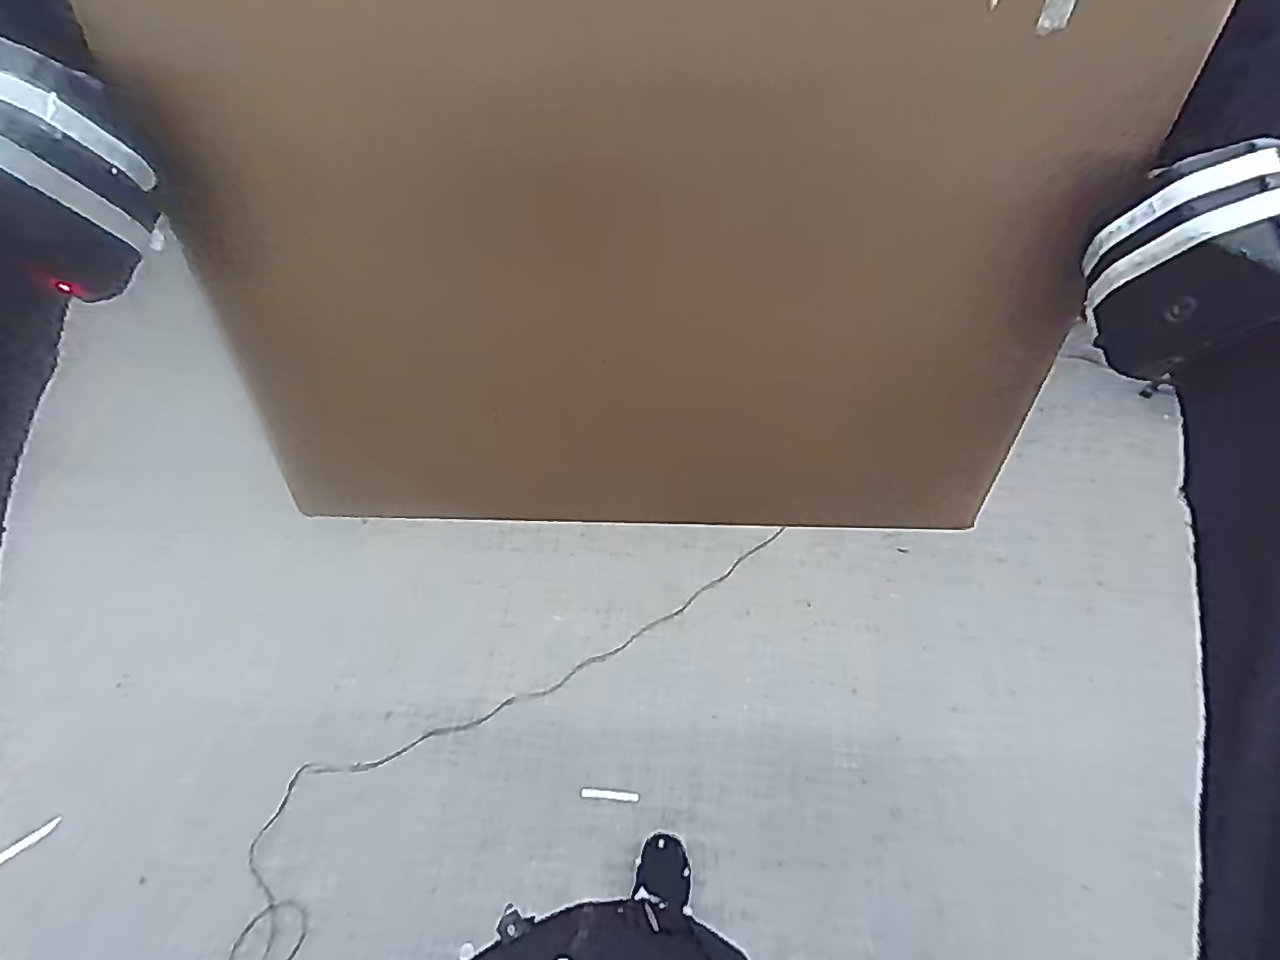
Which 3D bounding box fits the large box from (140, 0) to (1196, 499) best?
[{"bbox_3d":[0.006,-0.198,0.365,0.408,0.320,0.320,2,36,-1],"label":"large box"}]
